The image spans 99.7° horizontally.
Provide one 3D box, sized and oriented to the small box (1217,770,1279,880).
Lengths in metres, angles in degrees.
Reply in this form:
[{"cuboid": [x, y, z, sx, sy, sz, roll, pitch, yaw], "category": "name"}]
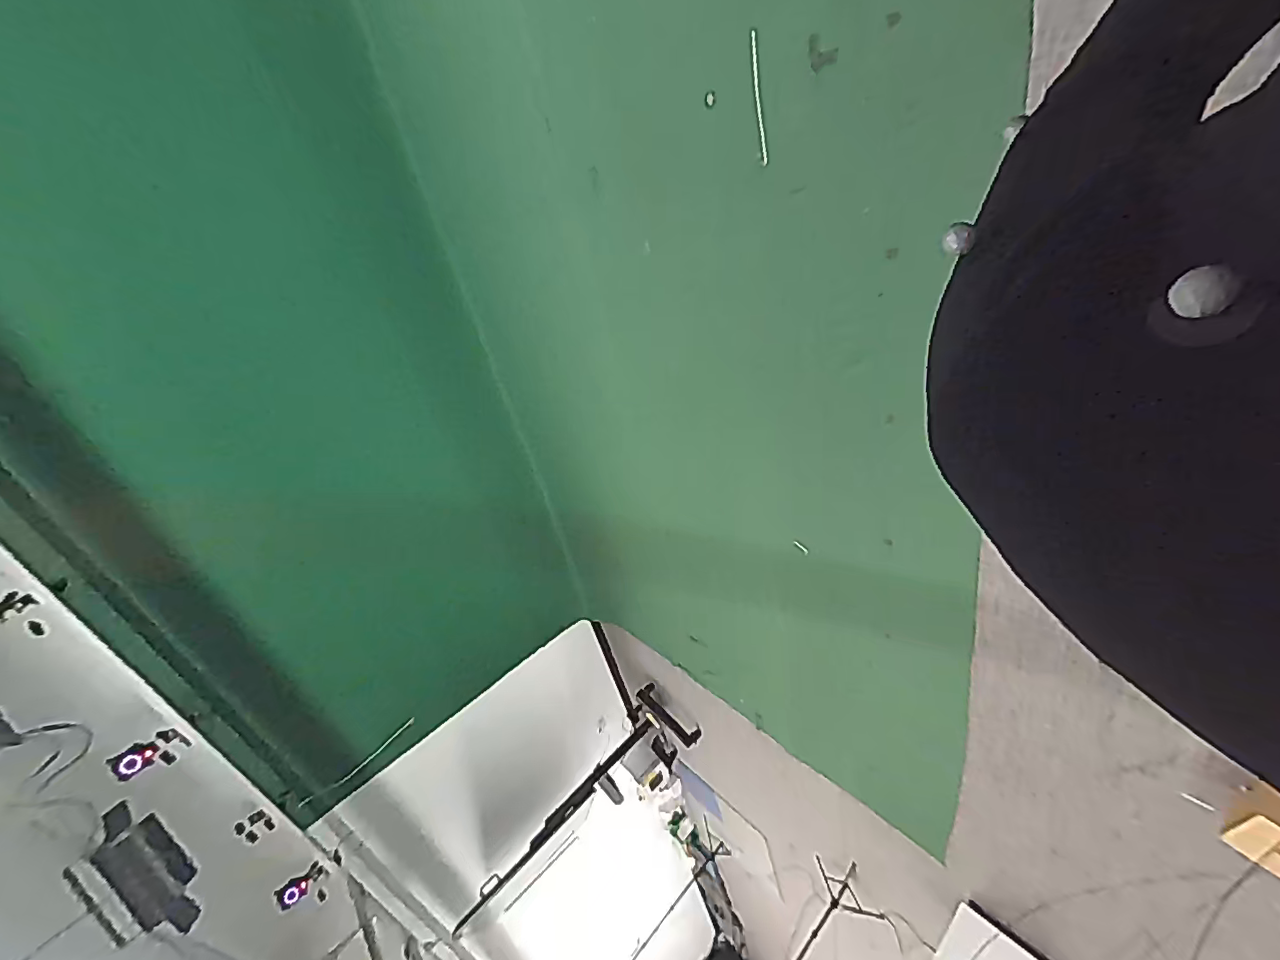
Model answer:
[{"cuboid": [1.605, 0.865, 1.332, 0.179, 0.176, 0.168, 35, 144, 37], "category": "small box"}]
